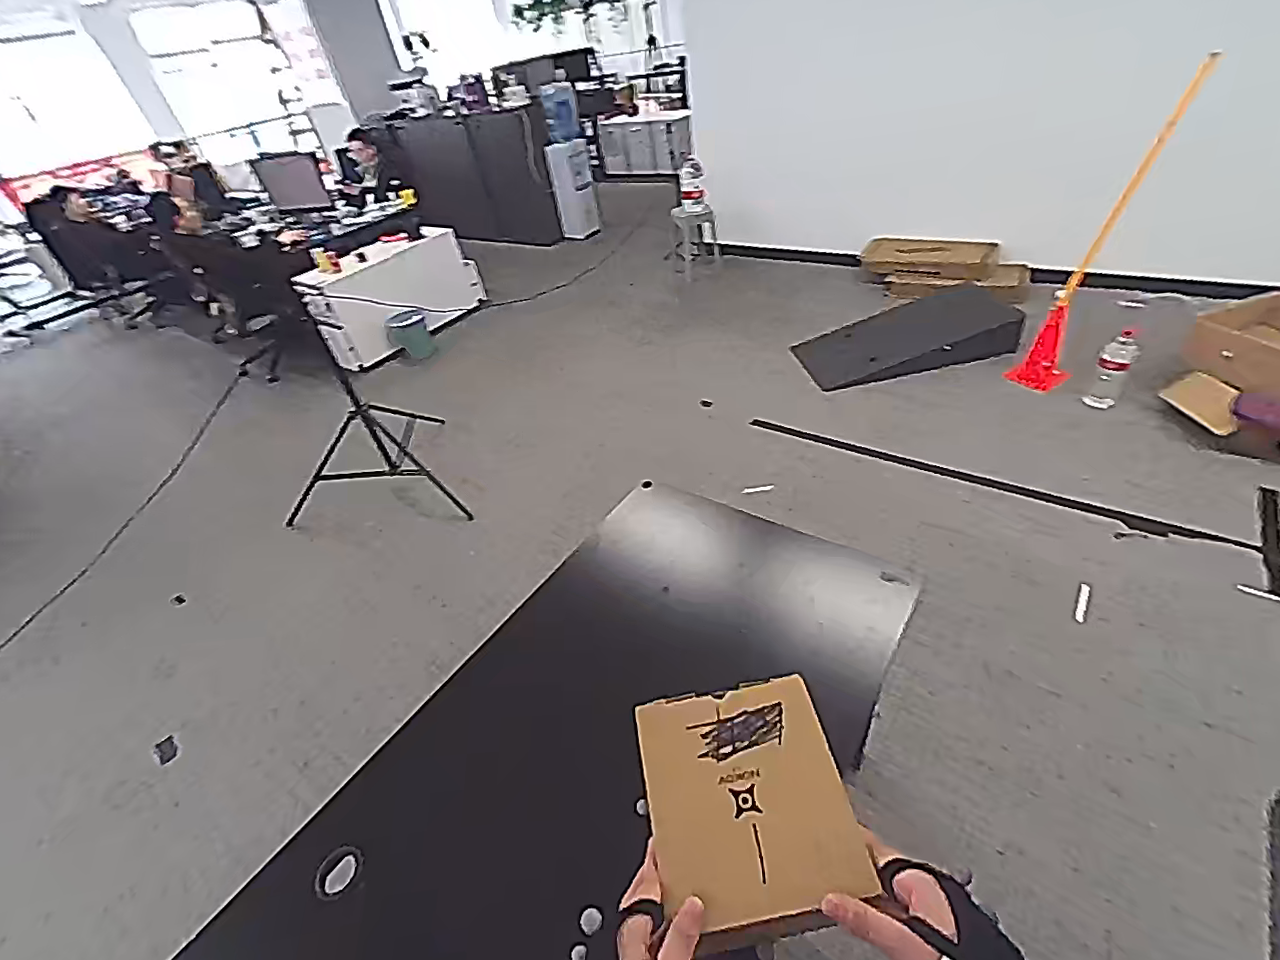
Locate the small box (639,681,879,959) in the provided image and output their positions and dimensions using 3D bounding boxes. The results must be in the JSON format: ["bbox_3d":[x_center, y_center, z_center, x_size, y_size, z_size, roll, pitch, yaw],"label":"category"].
[{"bbox_3d":[0.096,0.323,0.516,0.168,0.176,0.179,-11,45,-1],"label":"small box"}]
